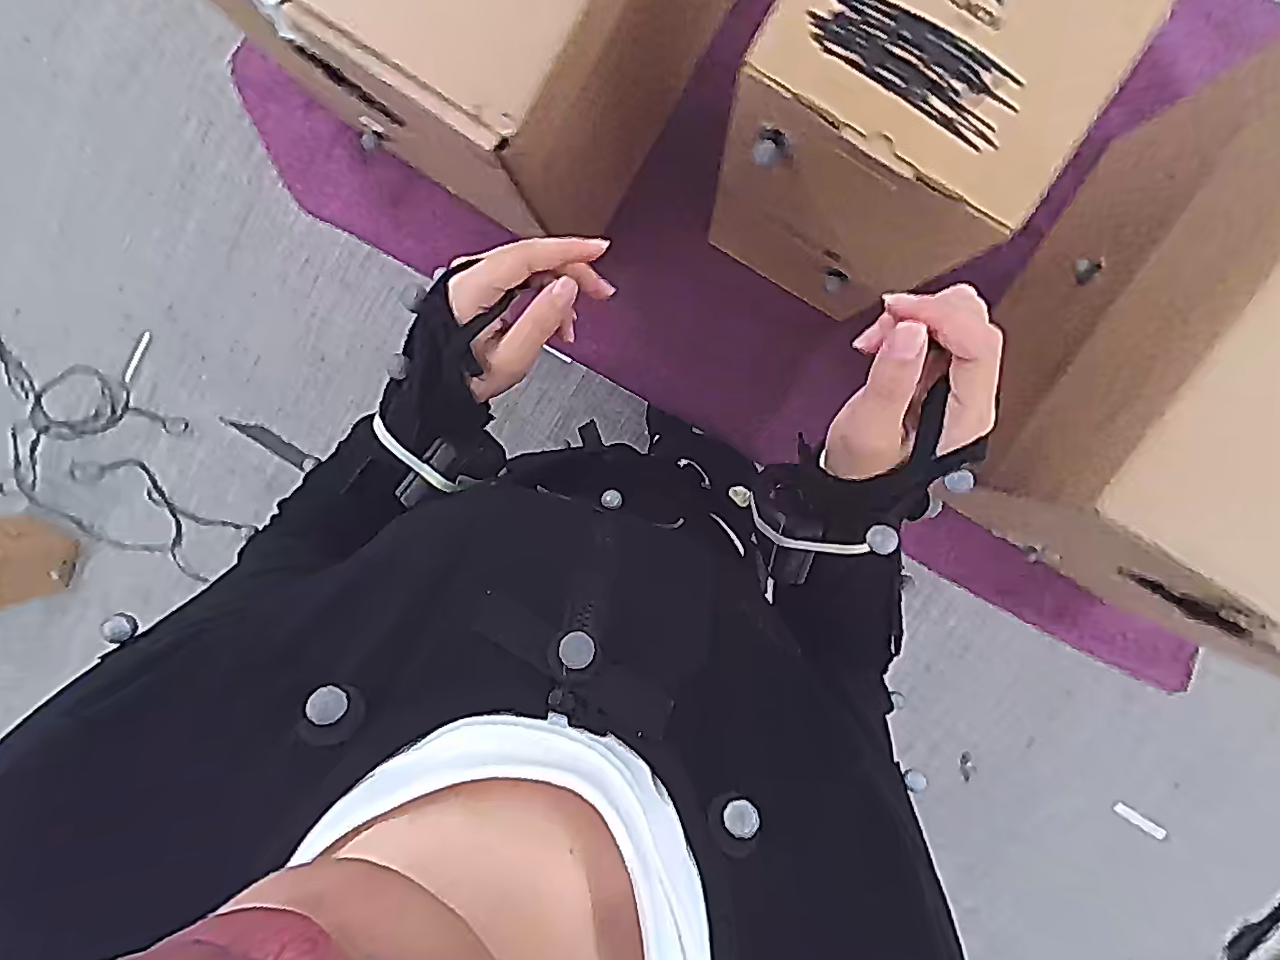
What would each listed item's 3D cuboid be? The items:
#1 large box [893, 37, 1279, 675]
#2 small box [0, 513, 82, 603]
[{"bbox_3d":[0.499,-0.085,0.443,0.320,0.320,0.408,32,97,-1],"label":"large box"},{"bbox_3d":[-1.660,0.199,1.429,0.179,0.176,0.168,26,100,0],"label":"small box"}]
